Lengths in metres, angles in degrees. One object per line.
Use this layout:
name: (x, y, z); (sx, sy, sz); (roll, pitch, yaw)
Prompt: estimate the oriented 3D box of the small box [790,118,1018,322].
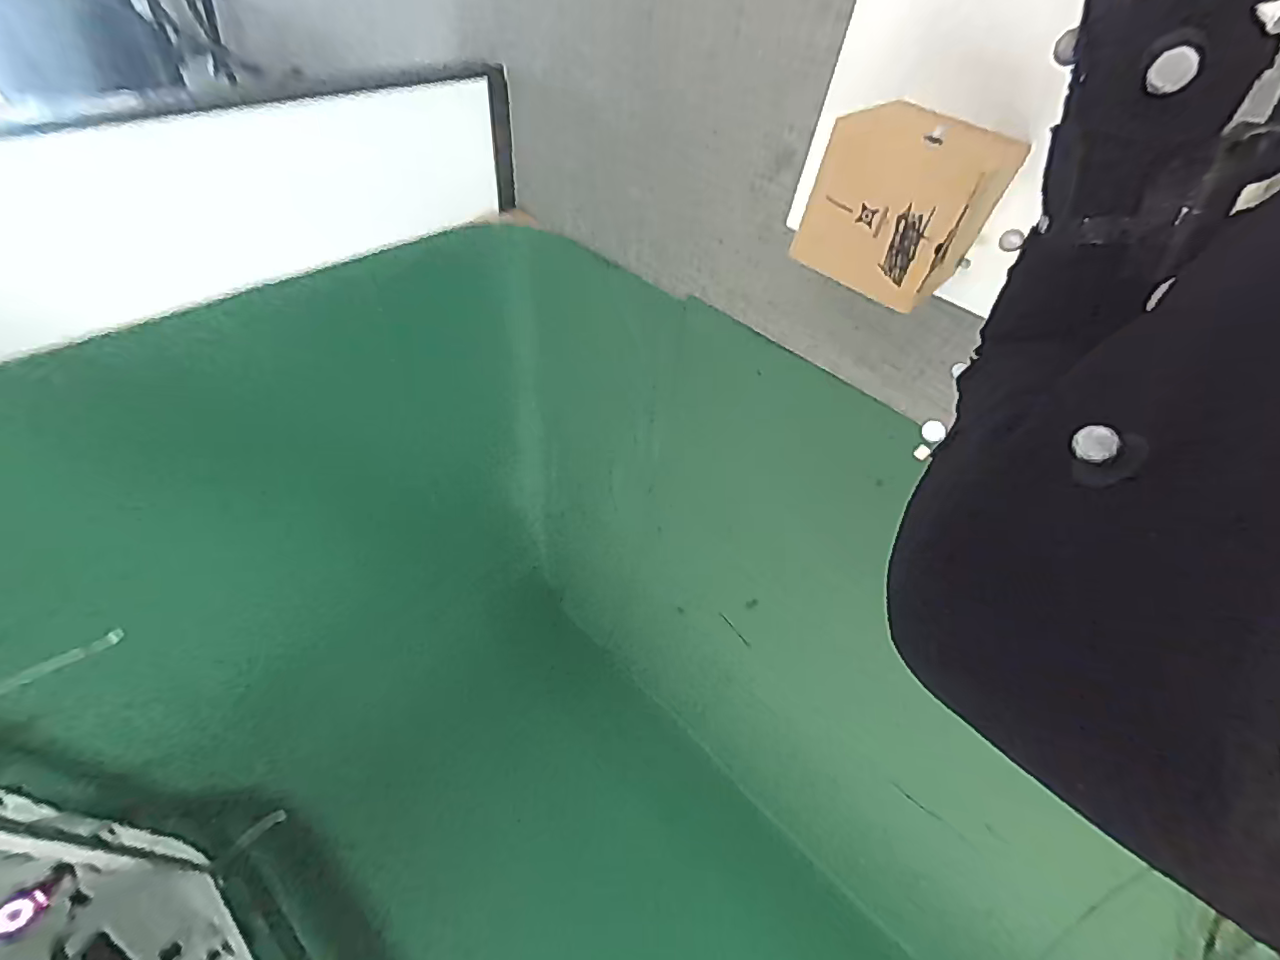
small box: (0.330, -0.336, 0.686); (0.179, 0.176, 0.168); (39, 144, 23)
